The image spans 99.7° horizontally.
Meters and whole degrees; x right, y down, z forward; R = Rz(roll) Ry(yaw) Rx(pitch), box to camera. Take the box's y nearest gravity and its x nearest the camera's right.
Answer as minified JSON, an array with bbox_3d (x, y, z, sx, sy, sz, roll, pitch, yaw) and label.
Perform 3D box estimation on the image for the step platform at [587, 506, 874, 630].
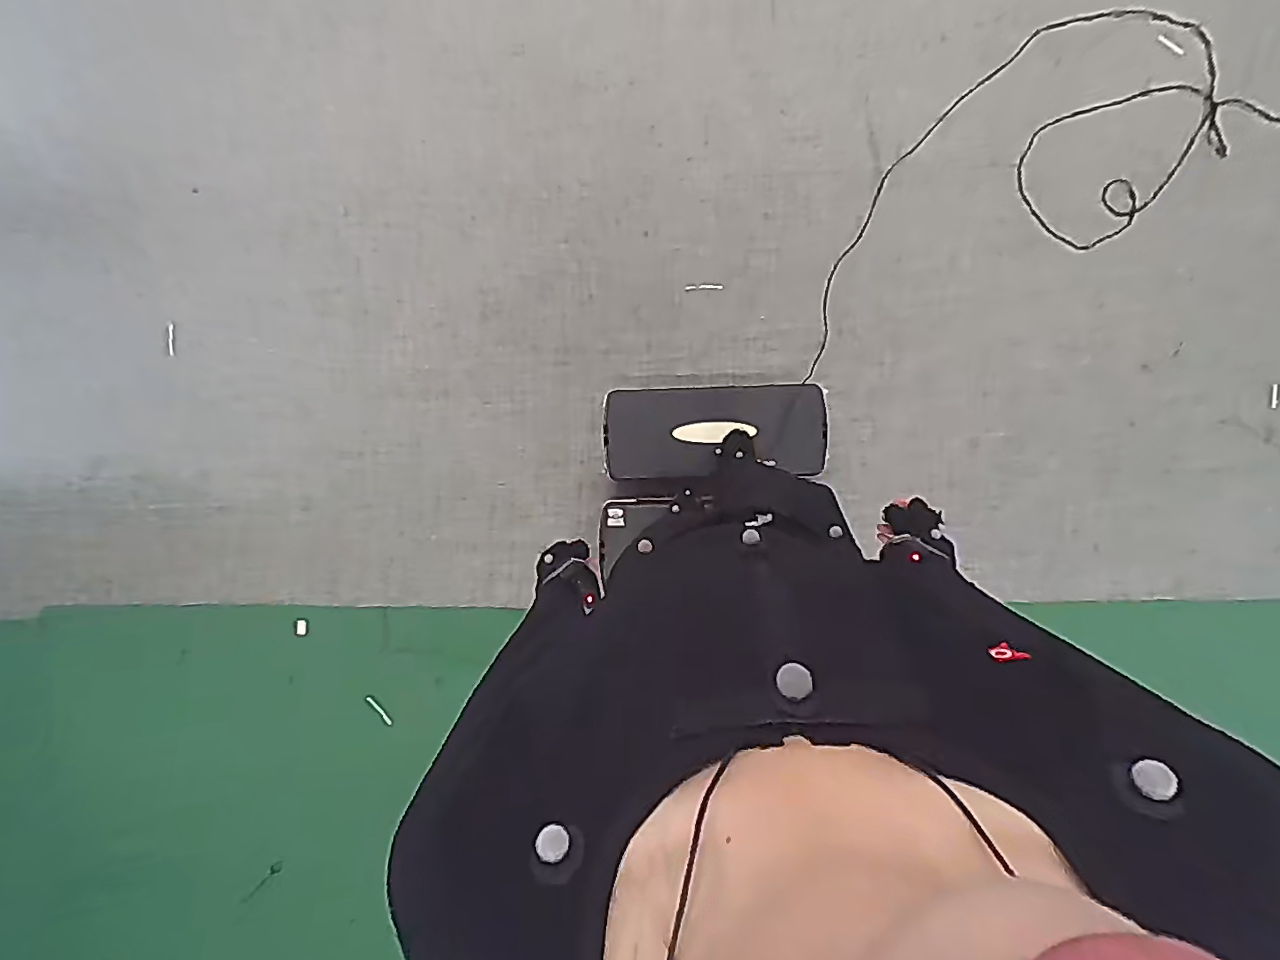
[{"bbox_3d":[0.215,0.215,1.383,0.684,0.204,0.286,-1,90,2],"label":"step platform"}]
